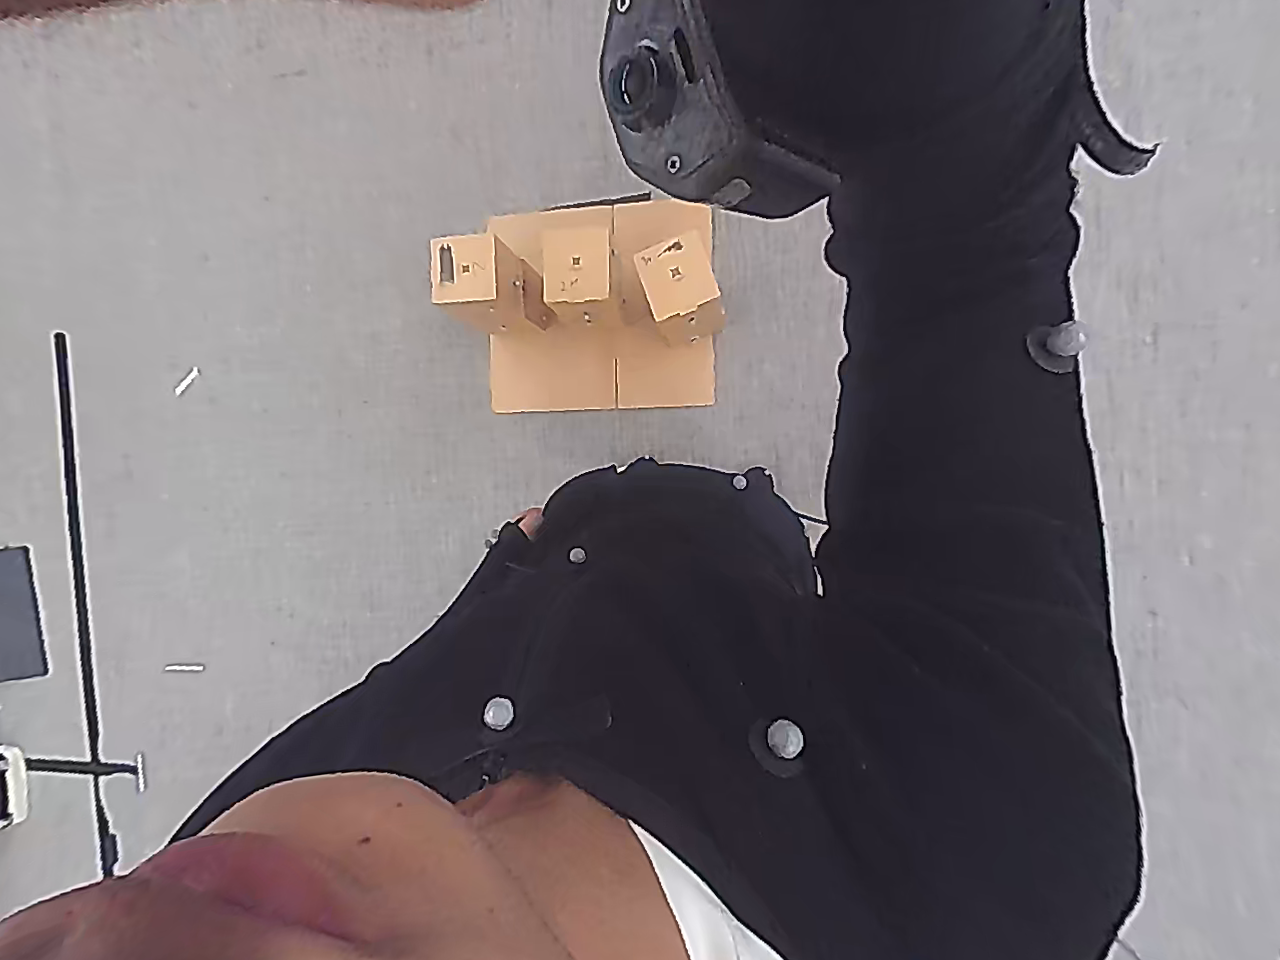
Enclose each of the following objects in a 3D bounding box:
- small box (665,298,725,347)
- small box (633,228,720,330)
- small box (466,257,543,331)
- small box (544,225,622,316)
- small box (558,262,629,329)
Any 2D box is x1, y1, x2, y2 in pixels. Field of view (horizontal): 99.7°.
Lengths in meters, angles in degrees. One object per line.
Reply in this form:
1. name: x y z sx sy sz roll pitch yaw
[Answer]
1. small box: 0.131 -0.497 1.516 0.168 0.176 0.179 -21 88 10
2. small box: 0.099 -0.490 1.356 0.168 0.176 0.179 -19 90 10
3. small box: -0.391 -0.541 1.592 0.179 0.176 0.168 -1 92 10
4. small box: -0.143 -0.531 1.389 0.168 0.176 0.179 1 93 8
5. small box: -0.128 -0.536 1.554 0.179 0.176 0.168 1 93 9
